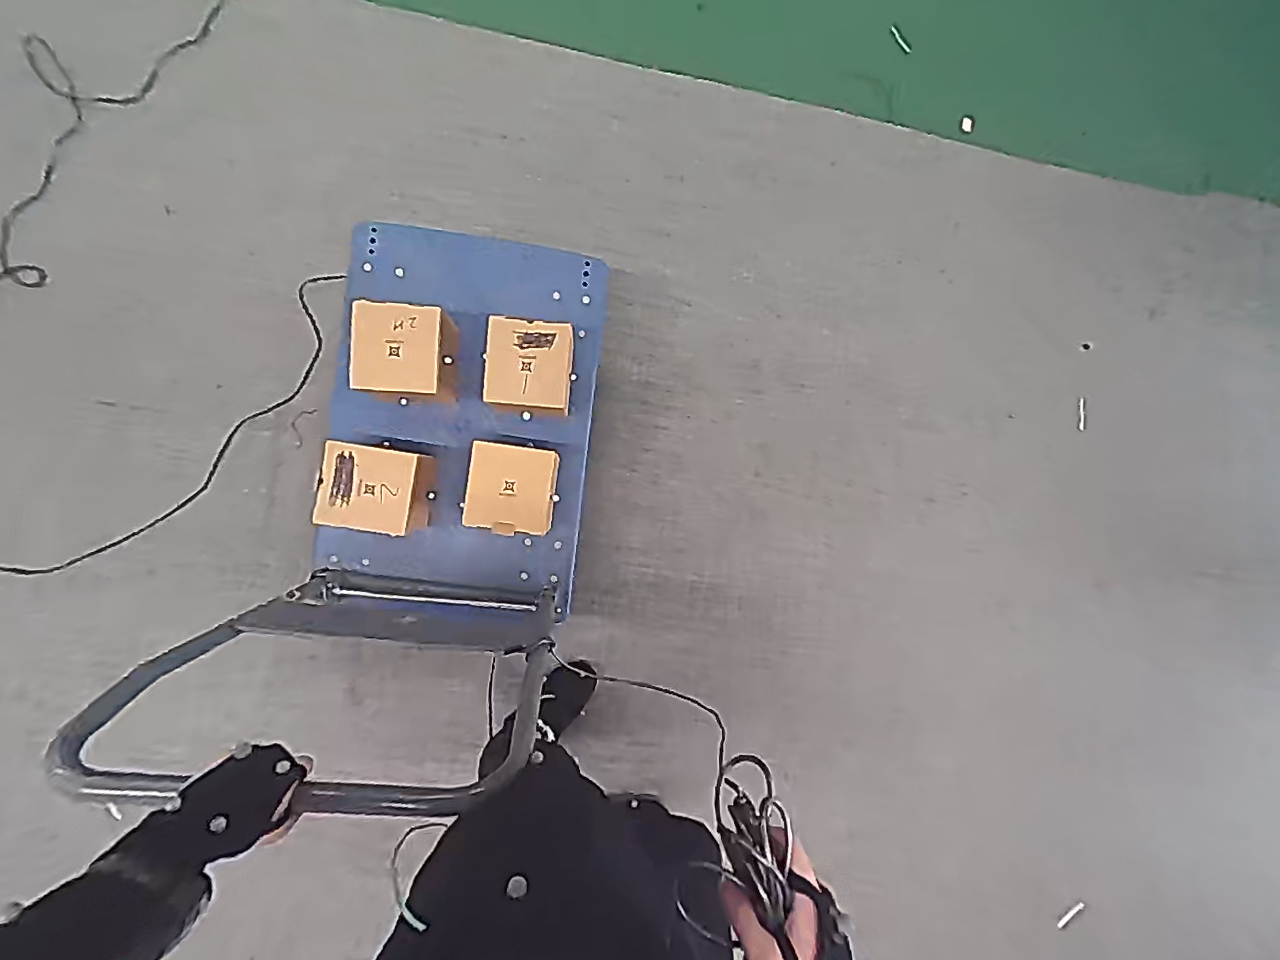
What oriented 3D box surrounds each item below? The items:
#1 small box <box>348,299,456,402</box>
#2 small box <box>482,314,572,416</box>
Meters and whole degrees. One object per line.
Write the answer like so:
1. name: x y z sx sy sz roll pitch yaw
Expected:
1. small box: -0.488 -0.261 1.129 0.168 0.176 0.179 3 90 -7
2. small box: -0.235 -0.238 1.158 0.168 0.176 0.179 5 91 -6
